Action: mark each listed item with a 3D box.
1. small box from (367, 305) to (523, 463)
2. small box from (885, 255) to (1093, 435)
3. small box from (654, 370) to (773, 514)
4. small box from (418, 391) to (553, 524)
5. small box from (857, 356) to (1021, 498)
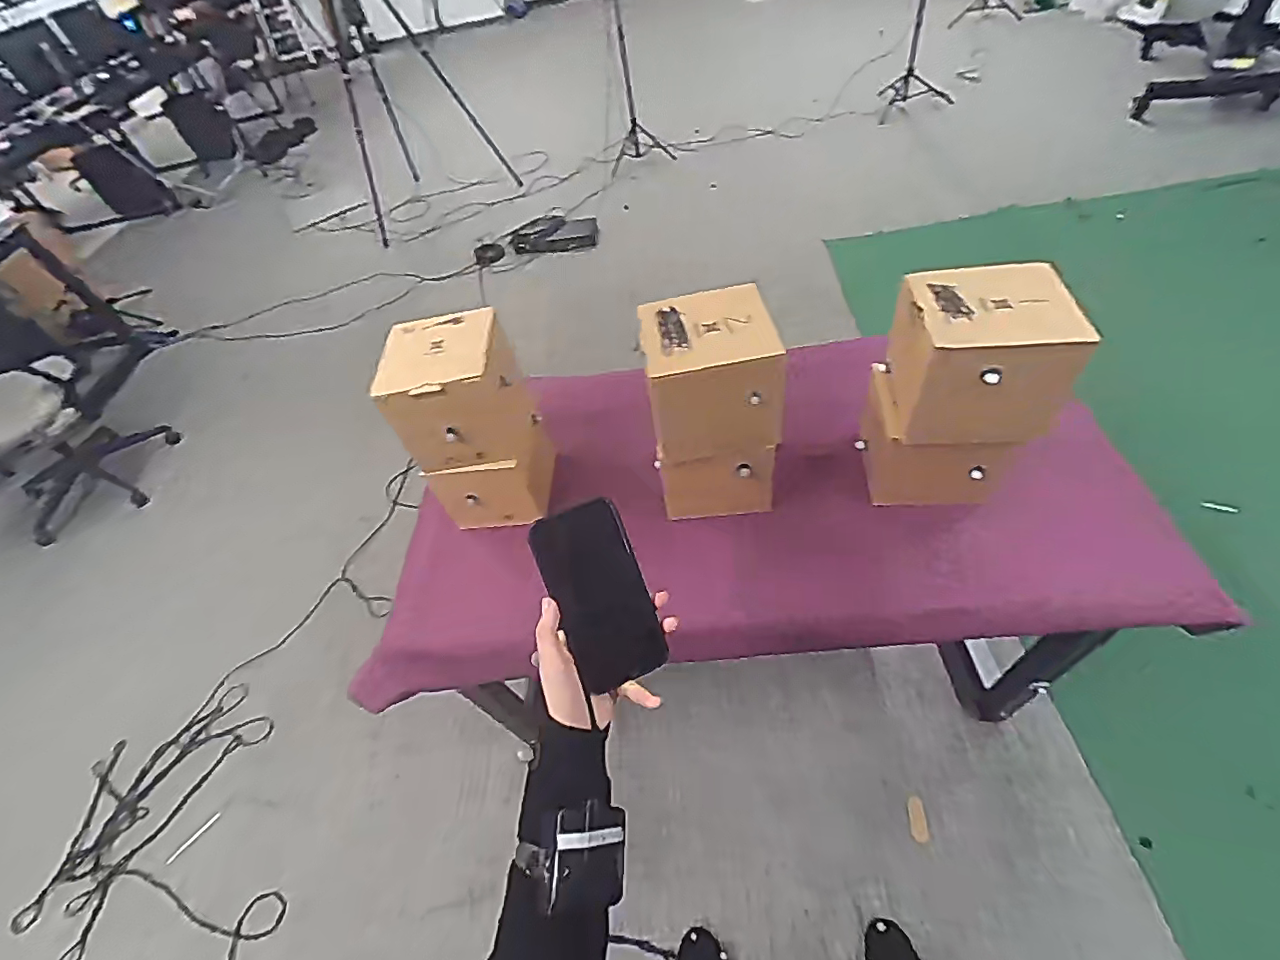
[{"bbox_3d":[-0.291,-0.141,0.851,0.168,0.176,0.179,-9,51,4],"label":"small box"},{"bbox_3d":[0.439,-0.173,0.722,0.179,0.176,0.168,-1,51,10],"label":"small box"},{"bbox_3d":[0.121,-0.059,0.908,0.179,0.176,0.168,-6,50,7],"label":"small box"},{"bbox_3d":[-0.264,-0.033,0.971,0.168,0.176,0.179,-6,50,8],"label":"small box"},{"bbox_3d":[0.457,-0.083,0.858,0.179,0.176,0.168,-2,51,12],"label":"small box"}]
